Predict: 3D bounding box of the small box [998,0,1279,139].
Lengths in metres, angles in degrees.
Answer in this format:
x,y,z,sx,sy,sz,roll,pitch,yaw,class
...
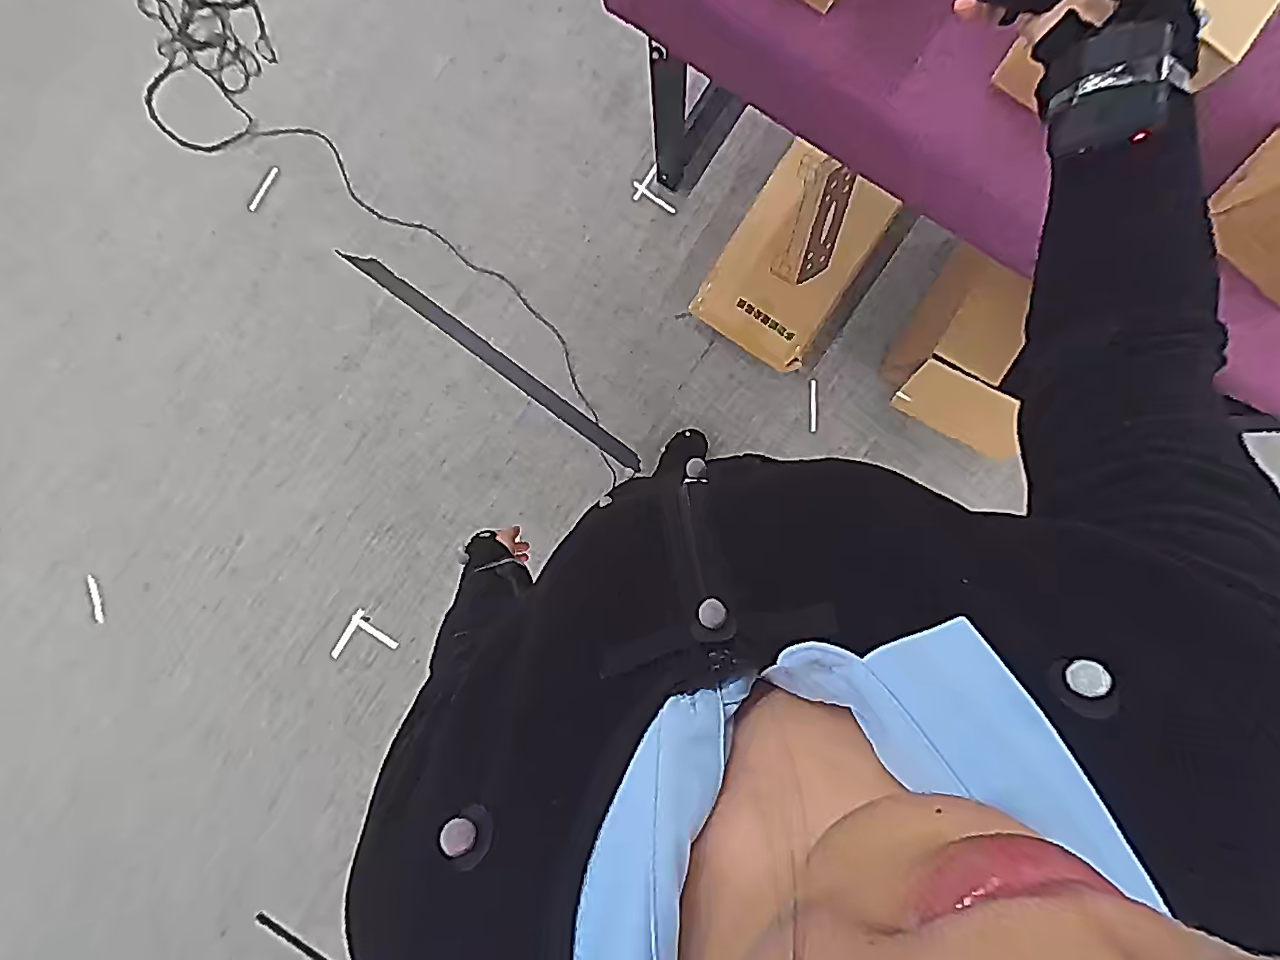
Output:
x,y,z,sx,sy,sz,roll,pitch,yaw,class
0.562,-0.527,0.603,0.179,0.176,0.168,33,93,1,small box

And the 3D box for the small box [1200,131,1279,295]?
x,y,z,sx,sy,sz,roll,pitch,yaw,class
0.814,-0.331,0.603,0.179,0.176,0.168,41,96,0,small box
